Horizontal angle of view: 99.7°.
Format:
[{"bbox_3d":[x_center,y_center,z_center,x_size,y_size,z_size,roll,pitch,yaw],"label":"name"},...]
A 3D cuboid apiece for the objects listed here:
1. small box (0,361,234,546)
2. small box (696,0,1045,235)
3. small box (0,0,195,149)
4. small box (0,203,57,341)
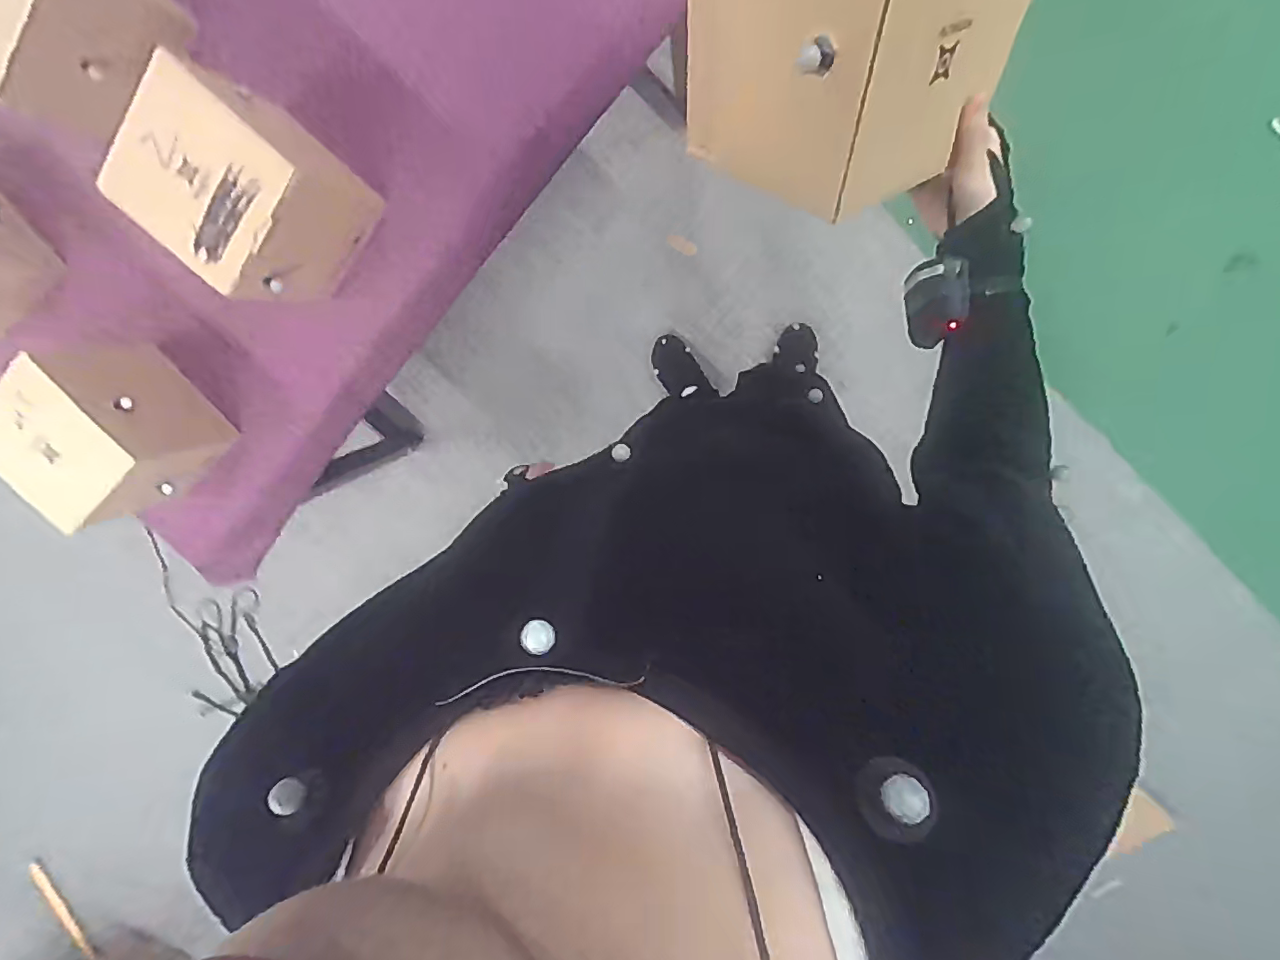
[{"bbox_3d":[-0.722,-0.047,0.740,0.168,0.176,0.179,-38,99,13],"label":"small box"},{"bbox_3d":[0.155,-0.317,0.392,0.168,0.176,0.179,-33,147,-21],"label":"small box"},{"bbox_3d":[-0.661,-0.515,0.604,0.168,0.176,0.179,41,106,-9],"label":"small box"},{"bbox_3d":[-0.935,-0.281,0.692,0.179,0.176,0.168,-33,102,11],"label":"small box"}]
